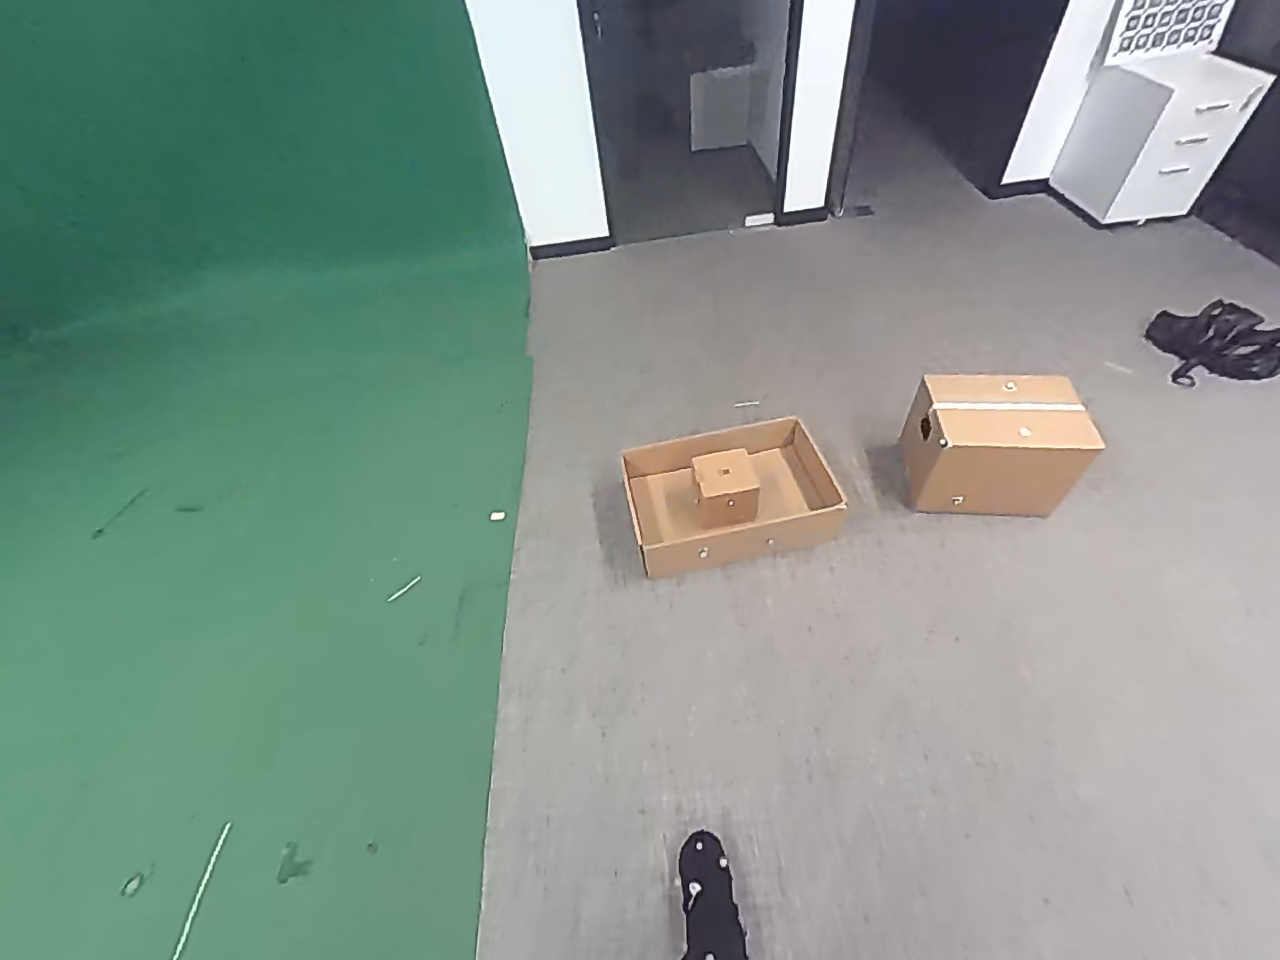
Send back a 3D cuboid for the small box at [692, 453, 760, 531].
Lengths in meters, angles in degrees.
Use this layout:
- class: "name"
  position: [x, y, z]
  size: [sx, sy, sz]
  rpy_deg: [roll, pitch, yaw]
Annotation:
- class: "small box"
  position: [0.265, 0.042, 1.704]
  size: [0.179, 0.176, 0.168]
  rpy_deg: [-10, 49, -3]
